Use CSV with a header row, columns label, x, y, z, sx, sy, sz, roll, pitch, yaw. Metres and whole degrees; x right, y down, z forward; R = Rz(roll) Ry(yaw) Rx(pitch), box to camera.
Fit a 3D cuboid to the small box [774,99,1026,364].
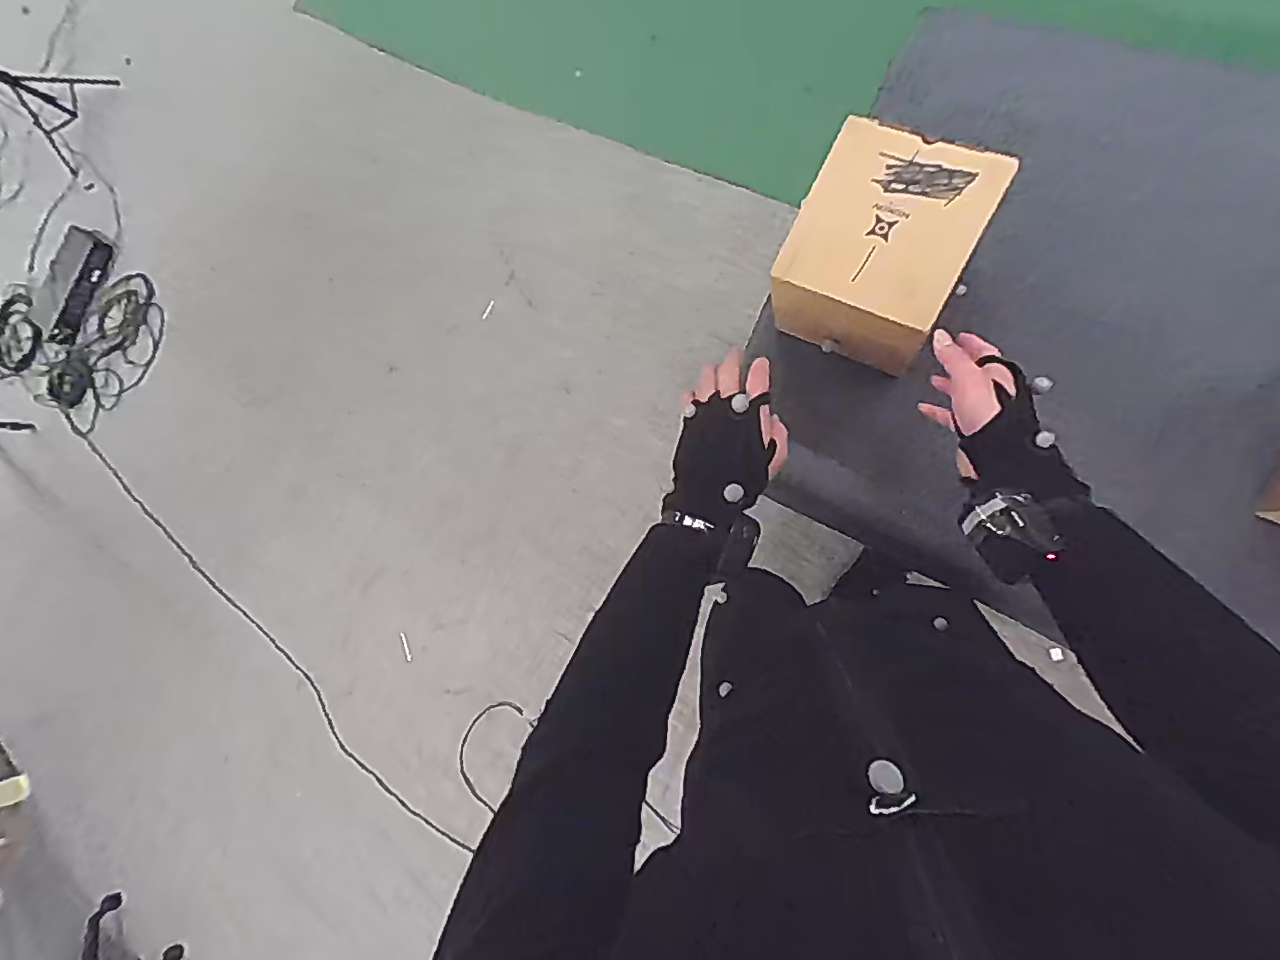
label,x,y,z,sx,sy,sz,roll,pitch,yaw
small box,0.260,-0.253,0.586,0.168,0.176,0.179,29,95,17
